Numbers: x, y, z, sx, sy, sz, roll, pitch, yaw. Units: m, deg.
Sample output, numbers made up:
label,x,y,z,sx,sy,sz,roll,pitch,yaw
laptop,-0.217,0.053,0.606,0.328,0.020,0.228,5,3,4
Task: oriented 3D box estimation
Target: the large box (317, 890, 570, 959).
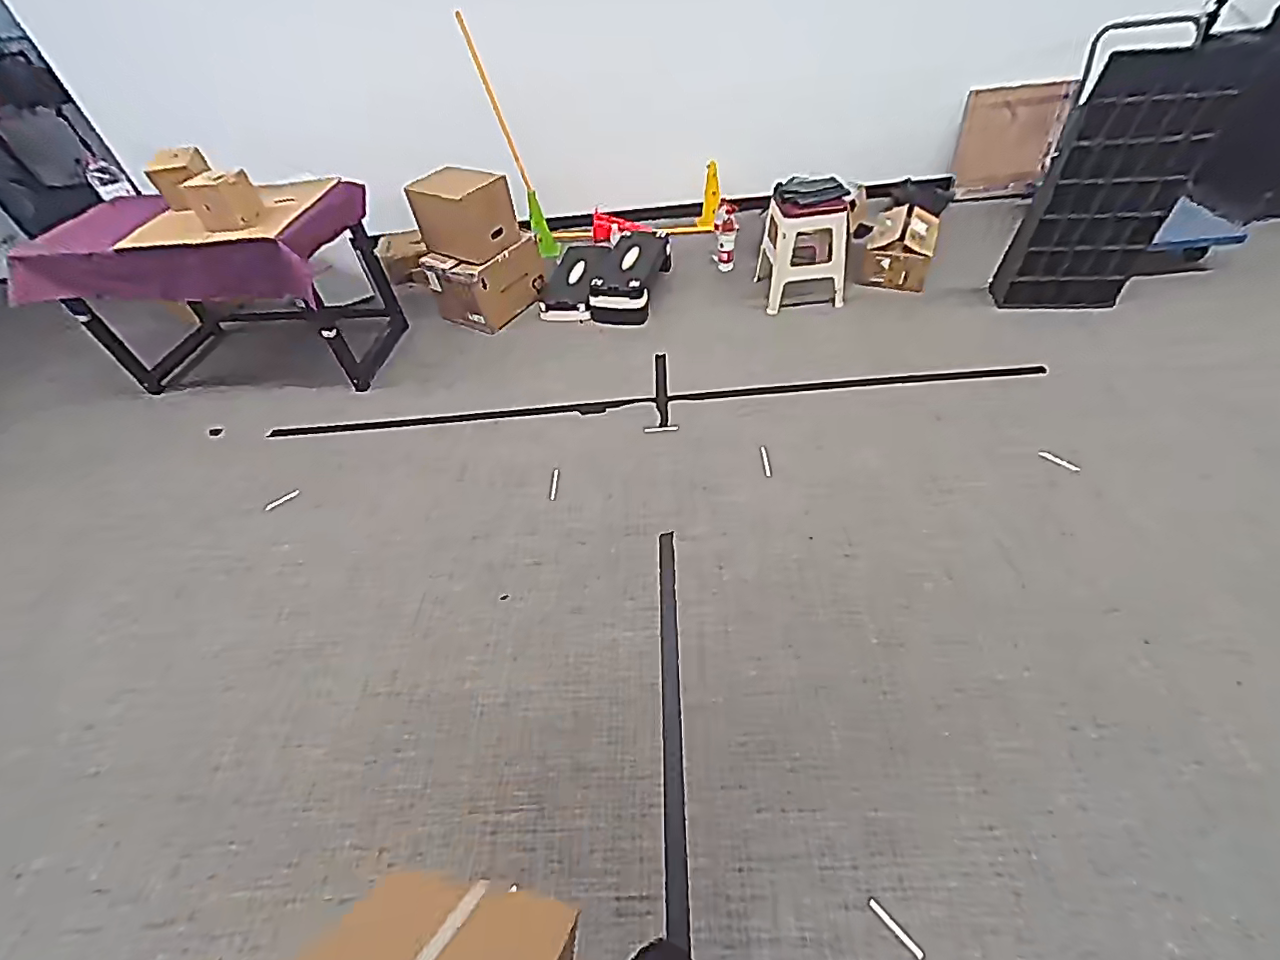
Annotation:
label,x,y,z,sx,sy,sz,roll,pitch,yaw
large box,-0.295,0.783,0.636,0.320,0.408,0.320,3,79,9
